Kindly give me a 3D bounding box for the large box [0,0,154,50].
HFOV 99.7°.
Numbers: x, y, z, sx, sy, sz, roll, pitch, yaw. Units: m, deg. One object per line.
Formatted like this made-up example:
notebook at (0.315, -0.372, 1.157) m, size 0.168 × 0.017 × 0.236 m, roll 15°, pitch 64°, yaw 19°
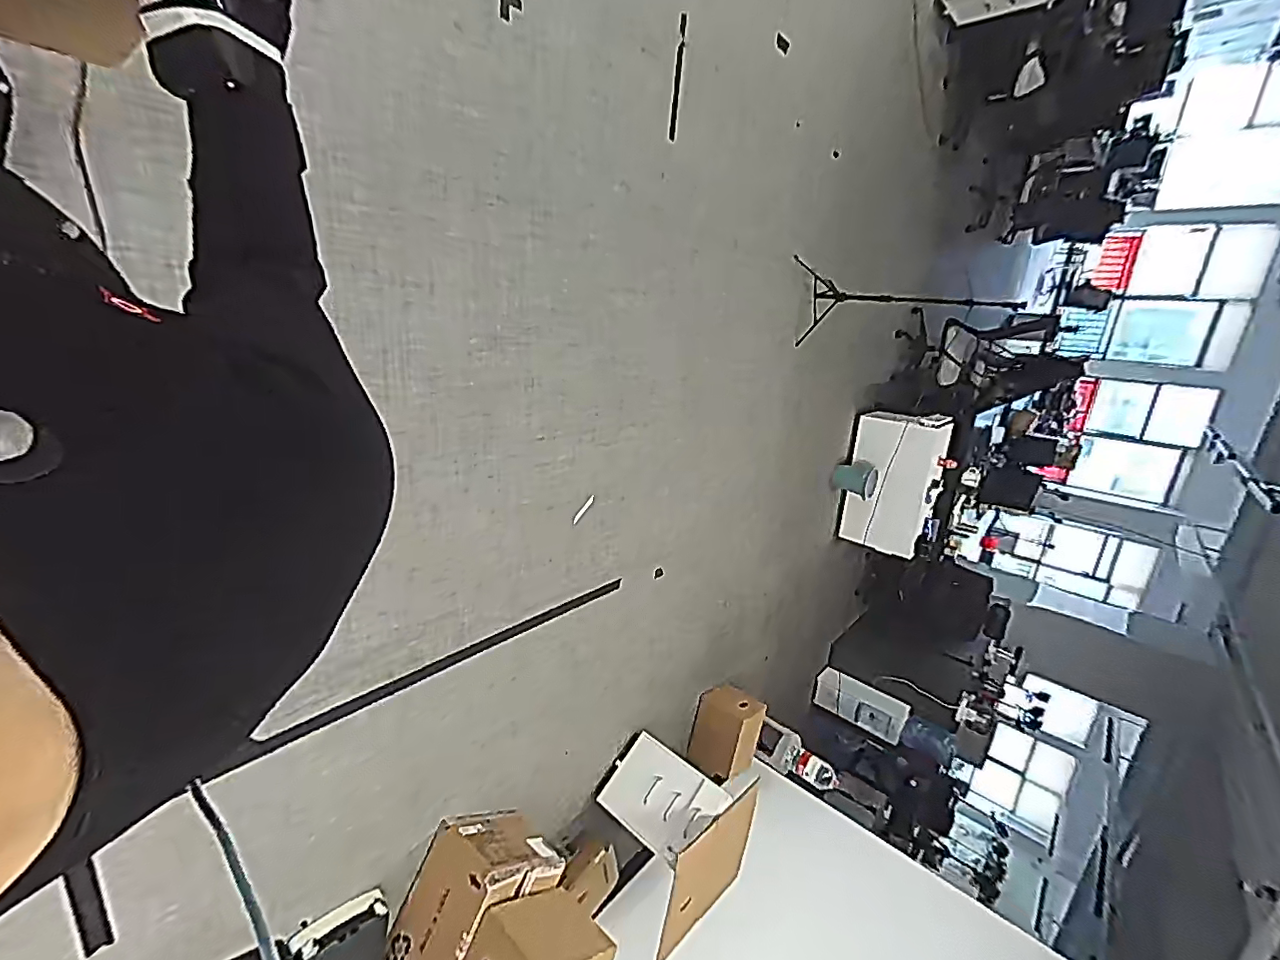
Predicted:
large box at (-0.538, -0.495, 0.266) m, size 0.408 × 0.320 × 0.320 m, roll -16°, pitch 119°, yaw -49°
